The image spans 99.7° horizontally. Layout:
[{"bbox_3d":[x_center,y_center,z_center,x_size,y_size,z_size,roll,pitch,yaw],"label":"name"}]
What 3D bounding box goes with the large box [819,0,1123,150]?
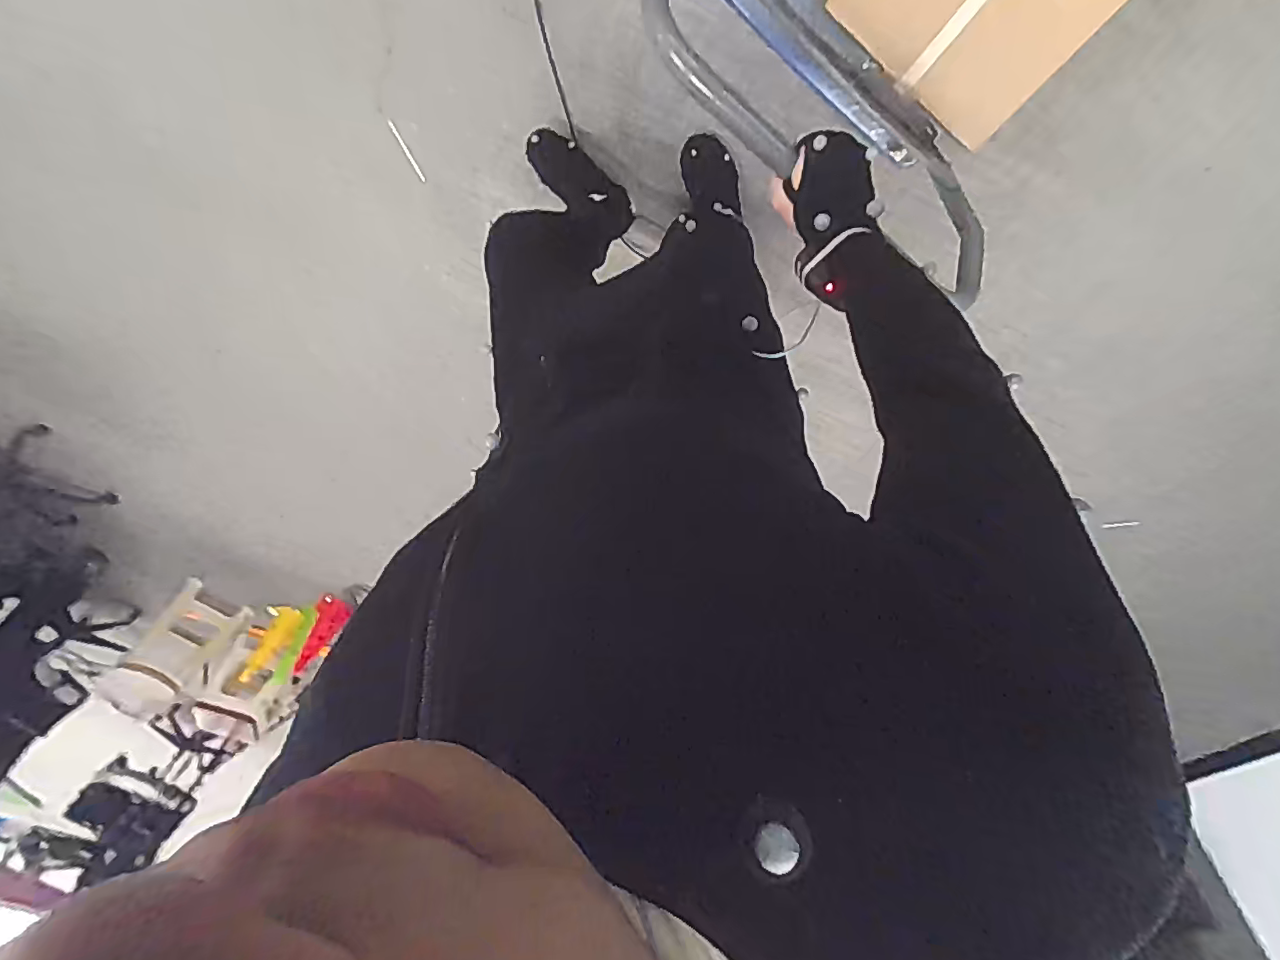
[{"bbox_3d":[0.519,-0.788,0.778,0.320,0.320,0.408,31,131,-16],"label":"large box"}]
